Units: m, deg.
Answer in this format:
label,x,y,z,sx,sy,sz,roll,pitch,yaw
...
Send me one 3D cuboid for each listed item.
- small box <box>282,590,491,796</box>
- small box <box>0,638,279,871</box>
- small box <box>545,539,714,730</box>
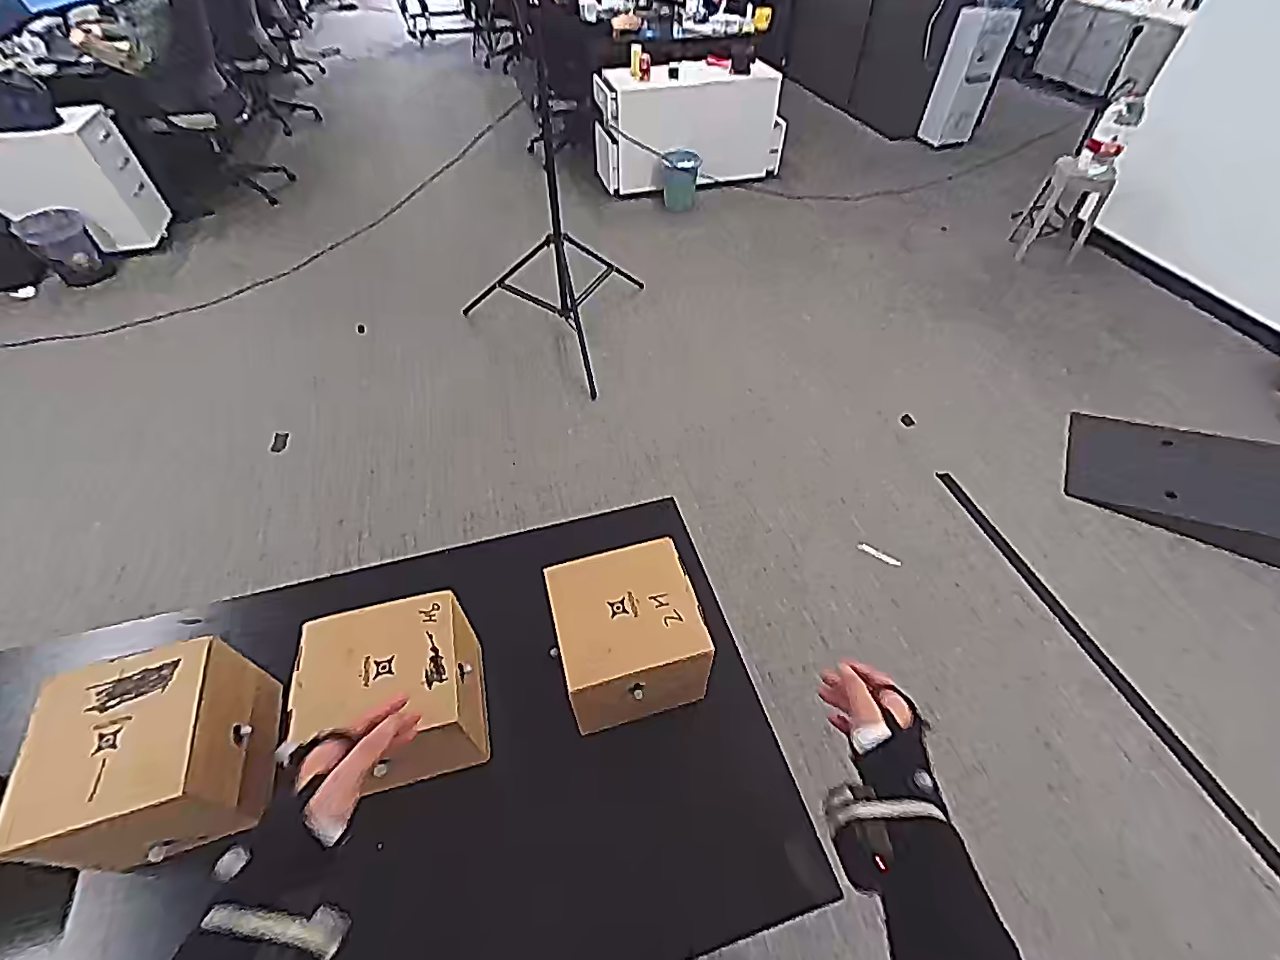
label,x,y,z,sx,sy,sz,roll,pitch,yaw
small box,-0.294,0.265,0.664,0.179,0.176,0.168,-12,51,-9
small box,-0.545,0.314,0.618,0.168,0.176,0.179,-14,52,-12
small box,-0.016,0.207,0.712,0.179,0.176,0.168,-12,51,-10
